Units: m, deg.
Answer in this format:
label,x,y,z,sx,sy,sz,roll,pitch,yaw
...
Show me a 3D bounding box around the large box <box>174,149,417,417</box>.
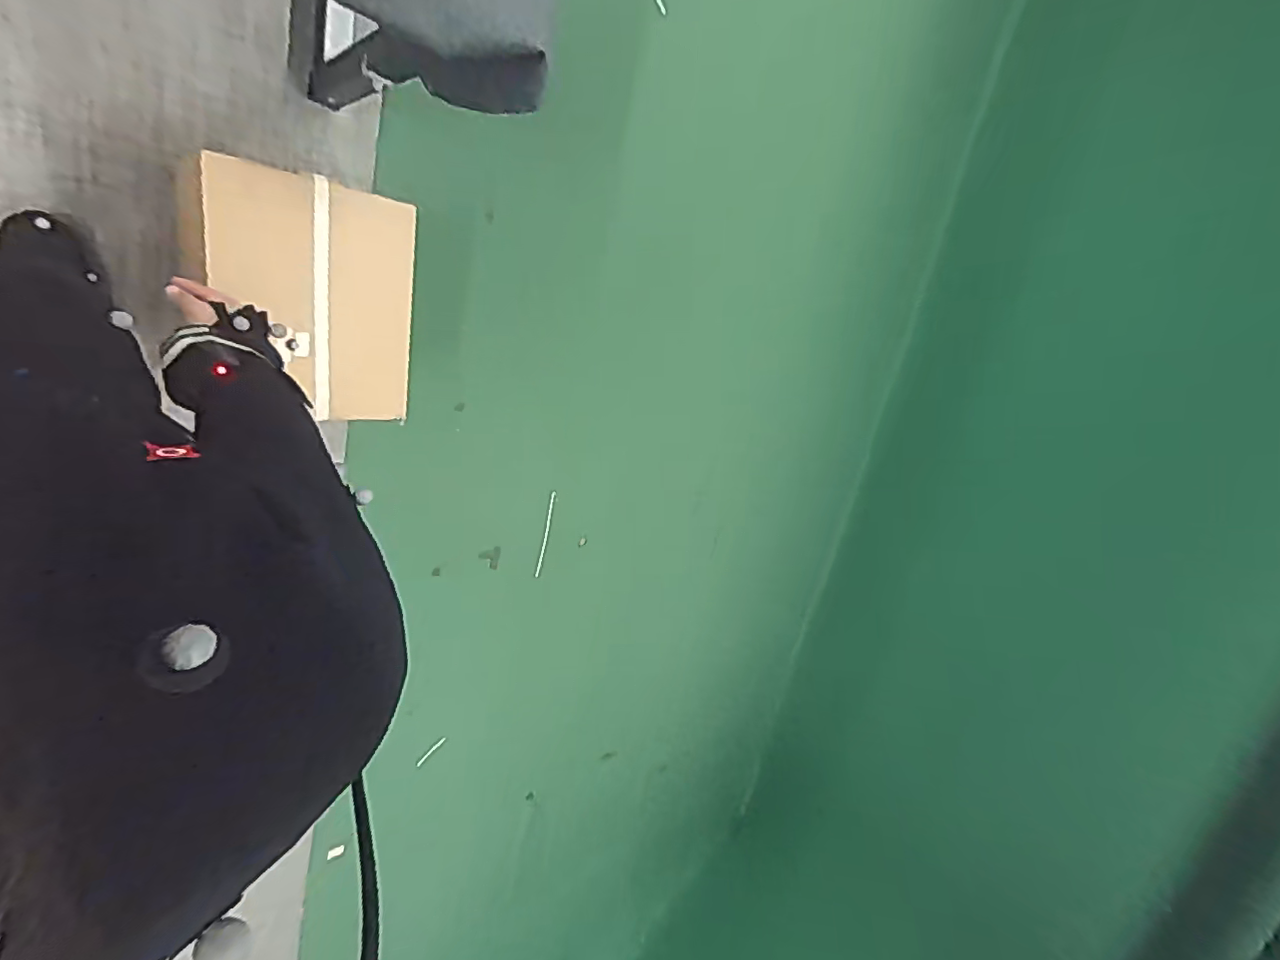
label,x,y,z,sx,sy,sz,roll,pitch,yaw
large box,-0.649,-0.356,1.028,0.320,0.320,0.408,-7,115,-44
